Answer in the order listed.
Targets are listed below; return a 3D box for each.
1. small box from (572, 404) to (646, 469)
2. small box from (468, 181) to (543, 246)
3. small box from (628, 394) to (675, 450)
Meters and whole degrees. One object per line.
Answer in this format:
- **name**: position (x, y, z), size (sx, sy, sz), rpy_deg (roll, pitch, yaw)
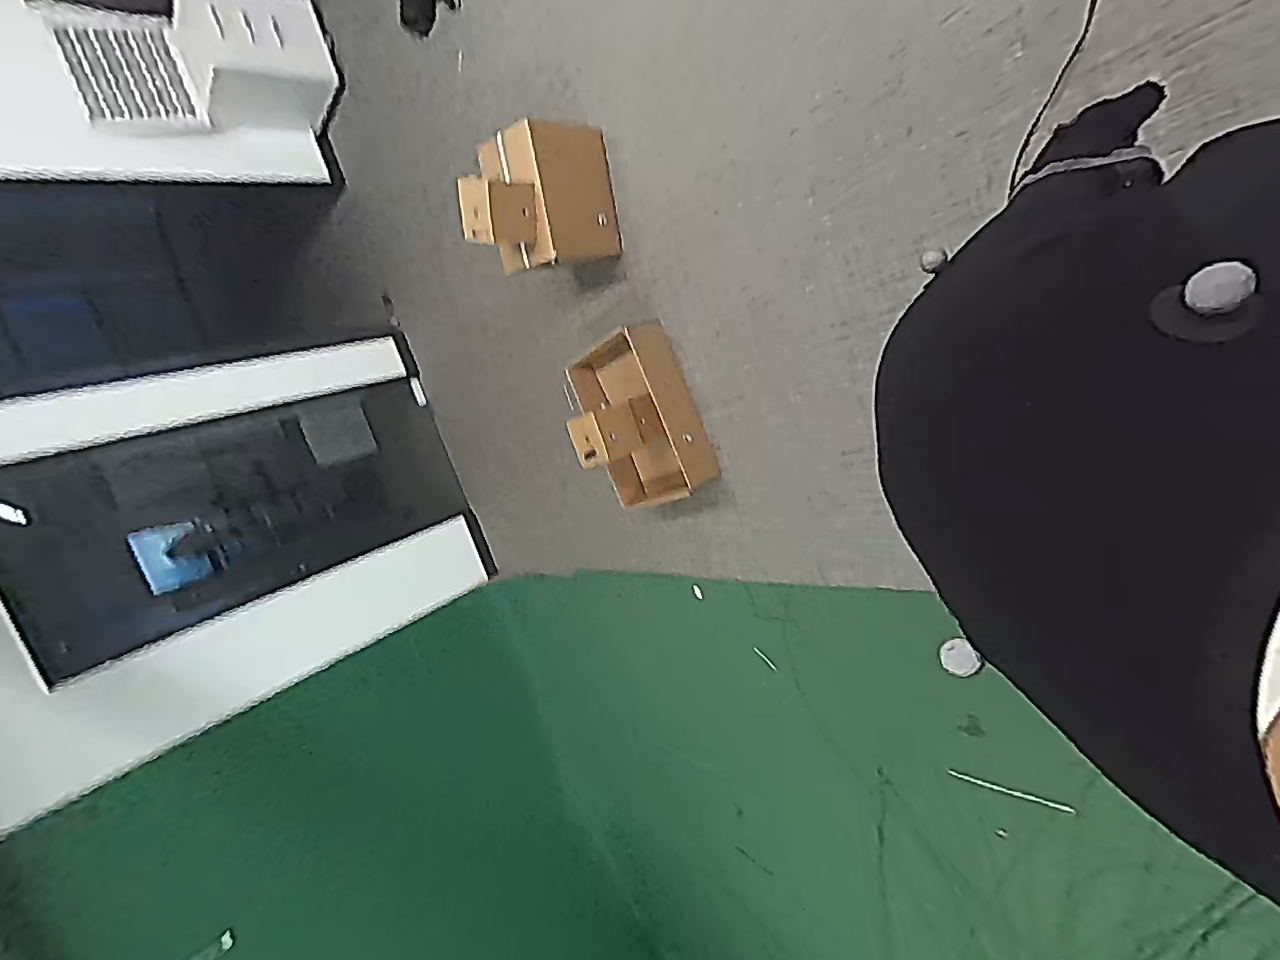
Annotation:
- **small box**: position (-0.104, -0.154, 1.898), size (0.168, 0.176, 0.179), rpy_deg (-12, 99, 49)
- **small box**: position (-0.428, -0.854, 1.735), size (0.168, 0.176, 0.179), rpy_deg (26, 125, 37)
- **small box**: position (0.003, -0.203, 2.014), size (0.168, 0.176, 0.179), rpy_deg (-16, 95, 49)
